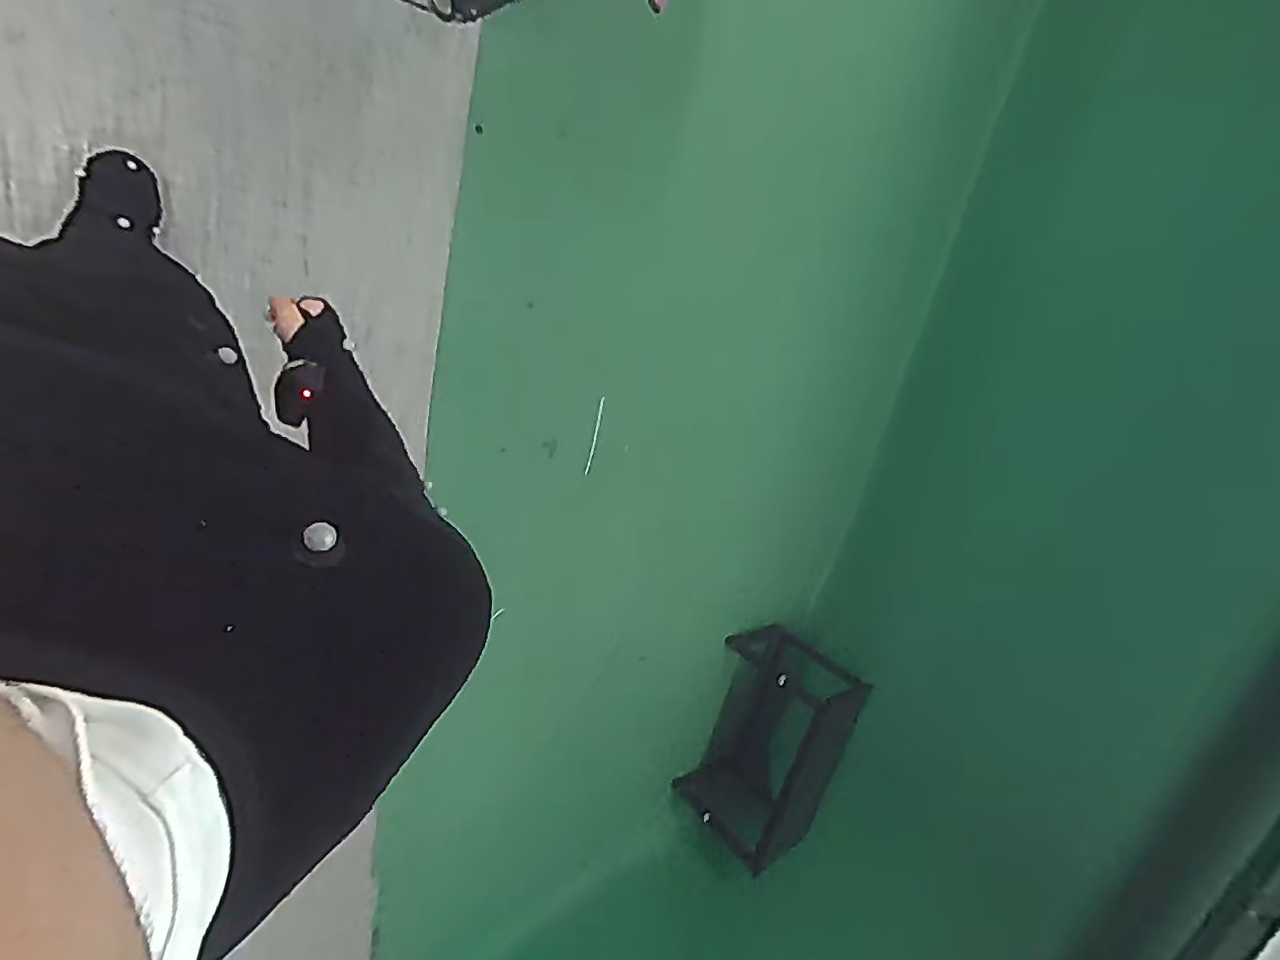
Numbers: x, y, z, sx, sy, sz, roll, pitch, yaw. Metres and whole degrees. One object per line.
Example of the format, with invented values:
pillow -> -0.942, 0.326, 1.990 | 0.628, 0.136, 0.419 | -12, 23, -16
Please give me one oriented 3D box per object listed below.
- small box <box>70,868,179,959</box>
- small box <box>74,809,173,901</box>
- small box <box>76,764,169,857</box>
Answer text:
small box -> -1.132, 1.002, 1.187 | 0.168, 0.176, 0.179 | 0, 113, -44
small box -> -1.239, 0.945, 1.297 | 0.168, 0.176, 0.179 | 3, 109, -45
small box -> -1.345, 0.887, 1.408 | 0.168, 0.176, 0.179 | 3, 110, -44
